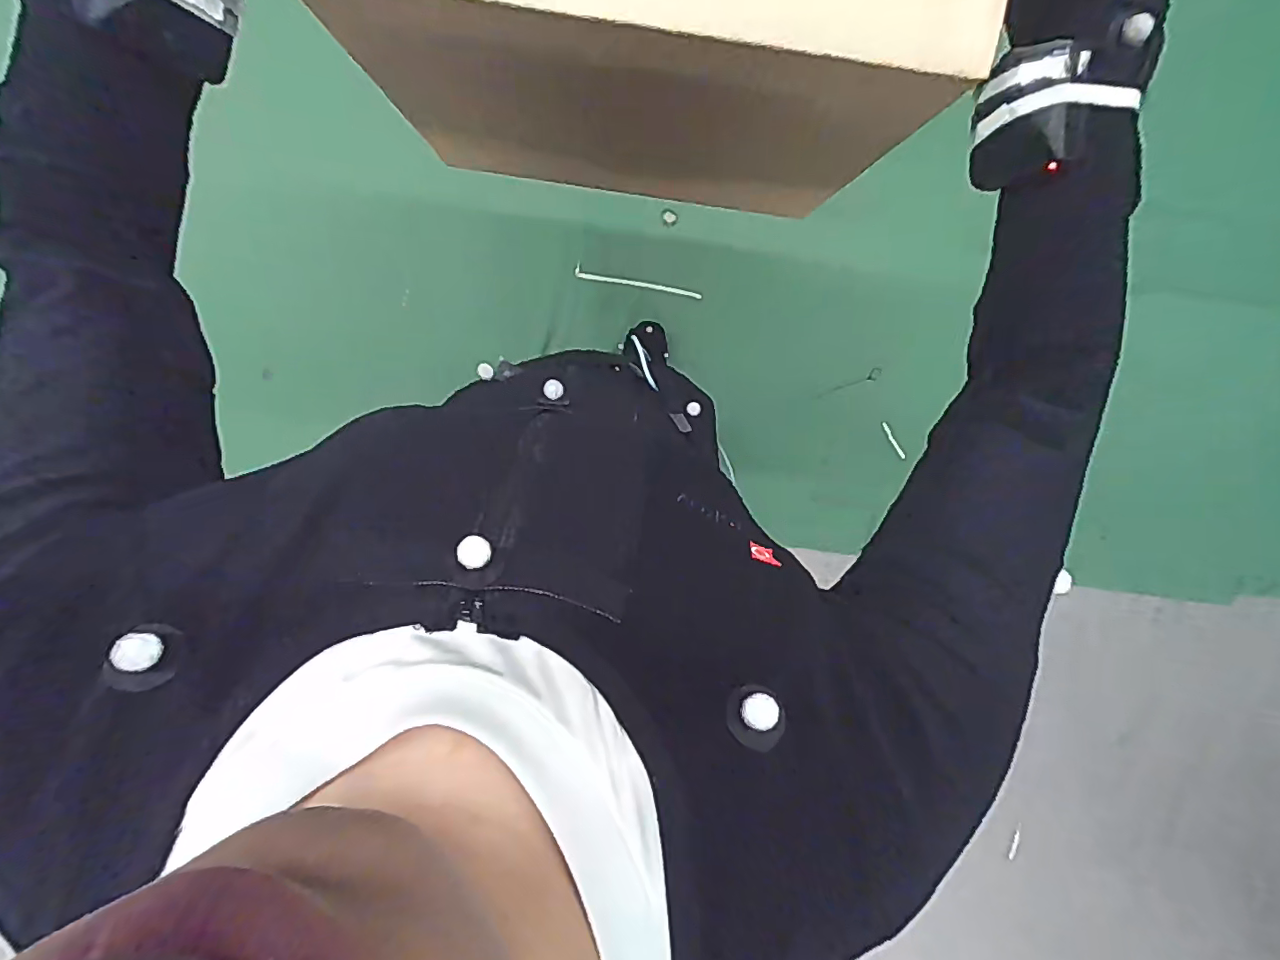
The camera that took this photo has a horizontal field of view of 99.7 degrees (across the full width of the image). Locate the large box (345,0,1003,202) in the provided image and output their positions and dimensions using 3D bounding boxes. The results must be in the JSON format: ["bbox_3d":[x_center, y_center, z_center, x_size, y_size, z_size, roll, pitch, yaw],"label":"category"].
[{"bbox_3d":[0.018,-0.446,0.422,0.408,0.320,0.320,6,103,-5],"label":"large box"}]
